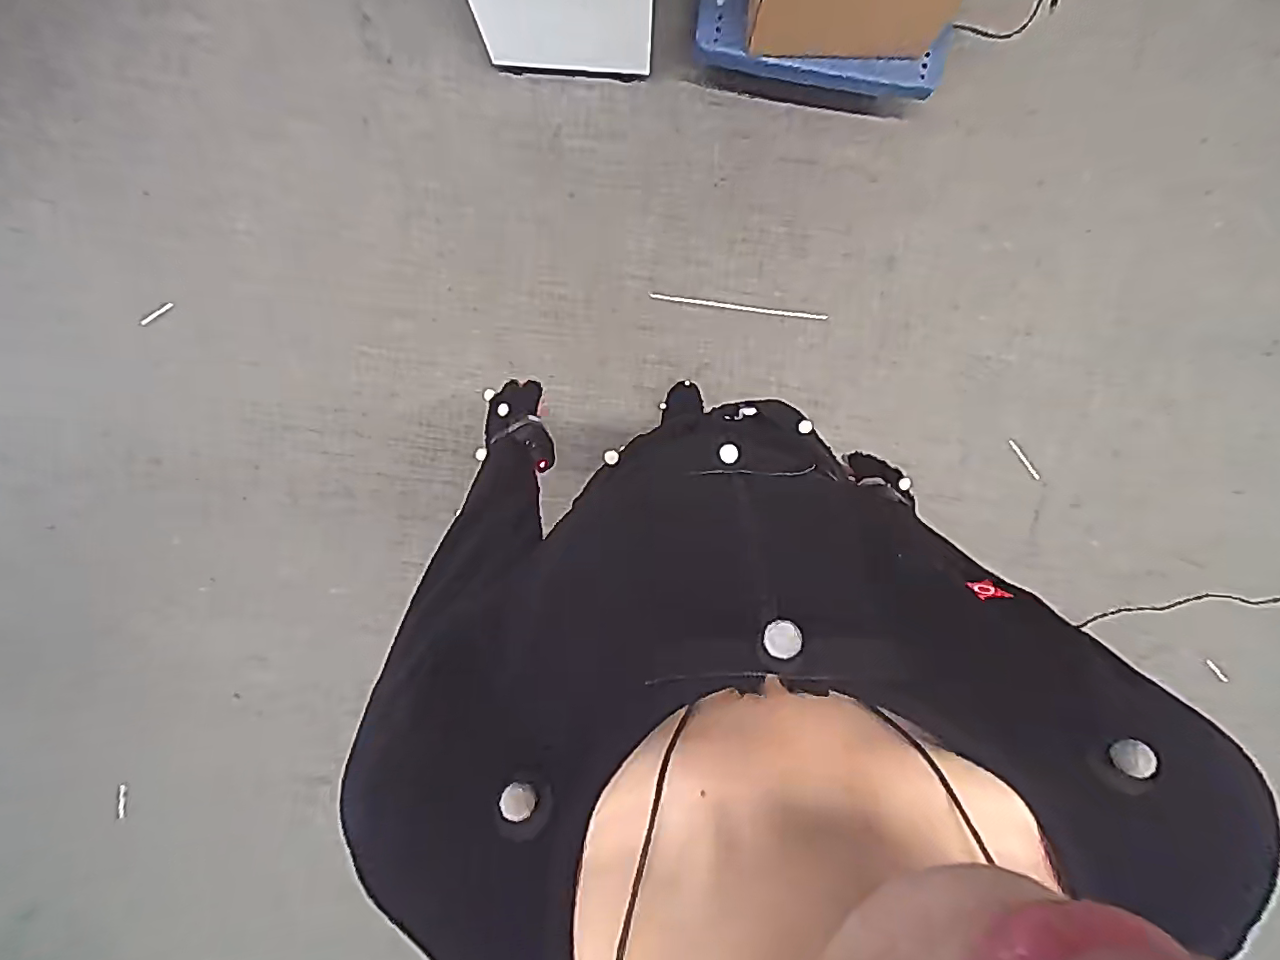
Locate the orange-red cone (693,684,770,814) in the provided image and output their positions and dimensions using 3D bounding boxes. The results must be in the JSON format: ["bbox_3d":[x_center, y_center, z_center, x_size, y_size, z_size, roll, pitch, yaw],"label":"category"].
[{"bbox_3d":[0.264,0.723,1.402,0.198,0.360,0.199,12,97,-1],"label":"orange-red cone"}]
